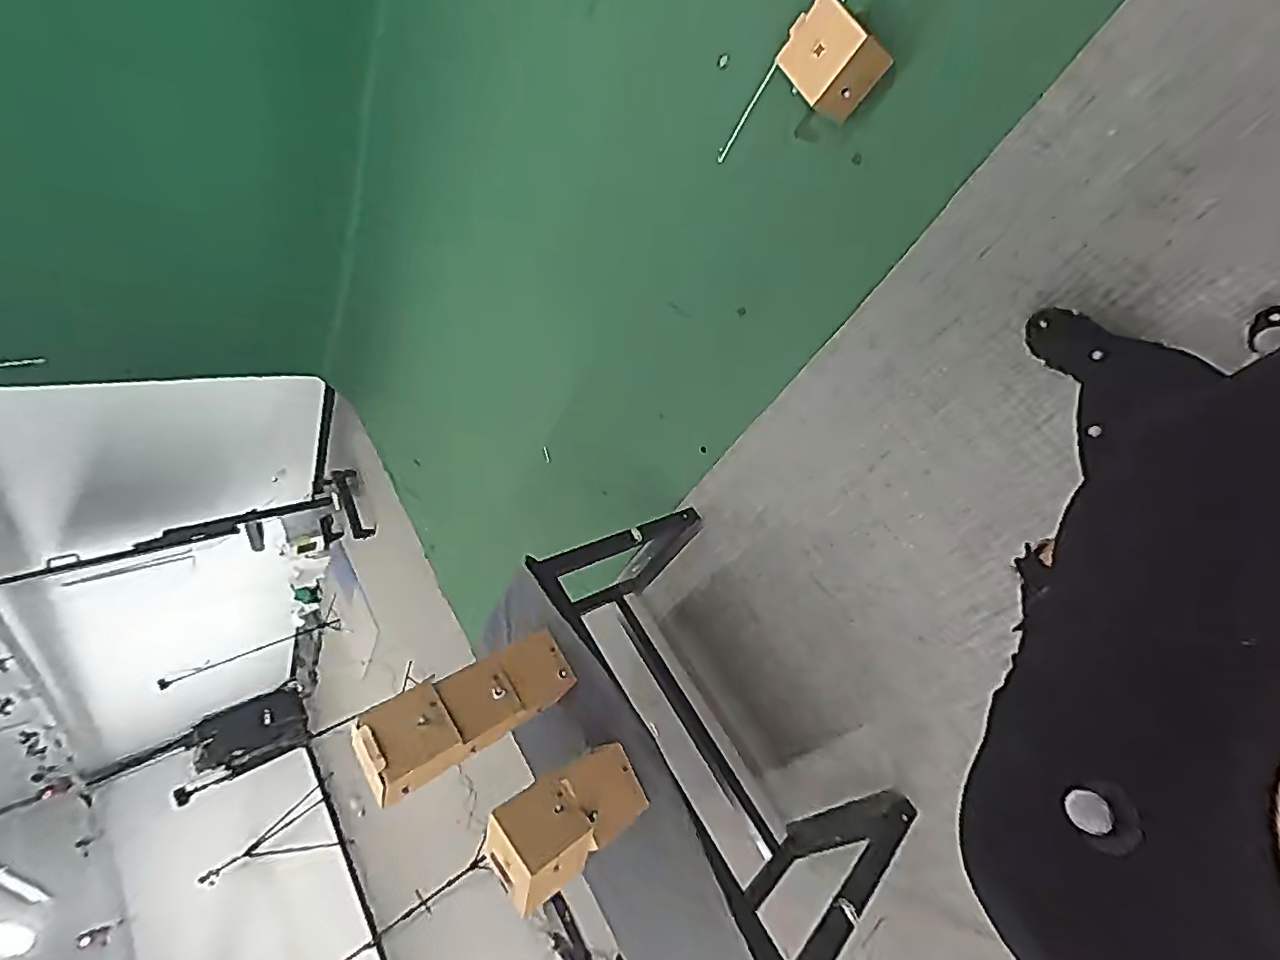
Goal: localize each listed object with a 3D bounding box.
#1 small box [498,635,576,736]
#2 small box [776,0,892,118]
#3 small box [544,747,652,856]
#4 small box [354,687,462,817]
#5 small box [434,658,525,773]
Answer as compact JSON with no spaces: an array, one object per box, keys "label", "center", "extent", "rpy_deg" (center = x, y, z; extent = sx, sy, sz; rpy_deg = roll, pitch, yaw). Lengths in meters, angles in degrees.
[{"label":"small box","center":[-0.293,0.543,1.443],"extent":[0.168,0.176,0.179],"rpy_deg":[54,135,19]},{"label":"small box","center":[0.473,-1.018,1.311],"extent":[0.168,0.176,0.179],"rpy_deg":[-43,70,42]},{"label":"small box","center":[-0.102,0.781,1.320],"extent":[0.179,0.176,0.168],"rpy_deg":[-44,70,45]},{"label":"small box","center":[-0.520,0.605,1.214],"extent":[0.168,0.176,0.179],"rpy_deg":[47,132,23]},{"label":"small box","center":[-0.406,0.575,1.331],"extent":[0.168,0.176,0.179],"rpy_deg":[50,132,21]}]
